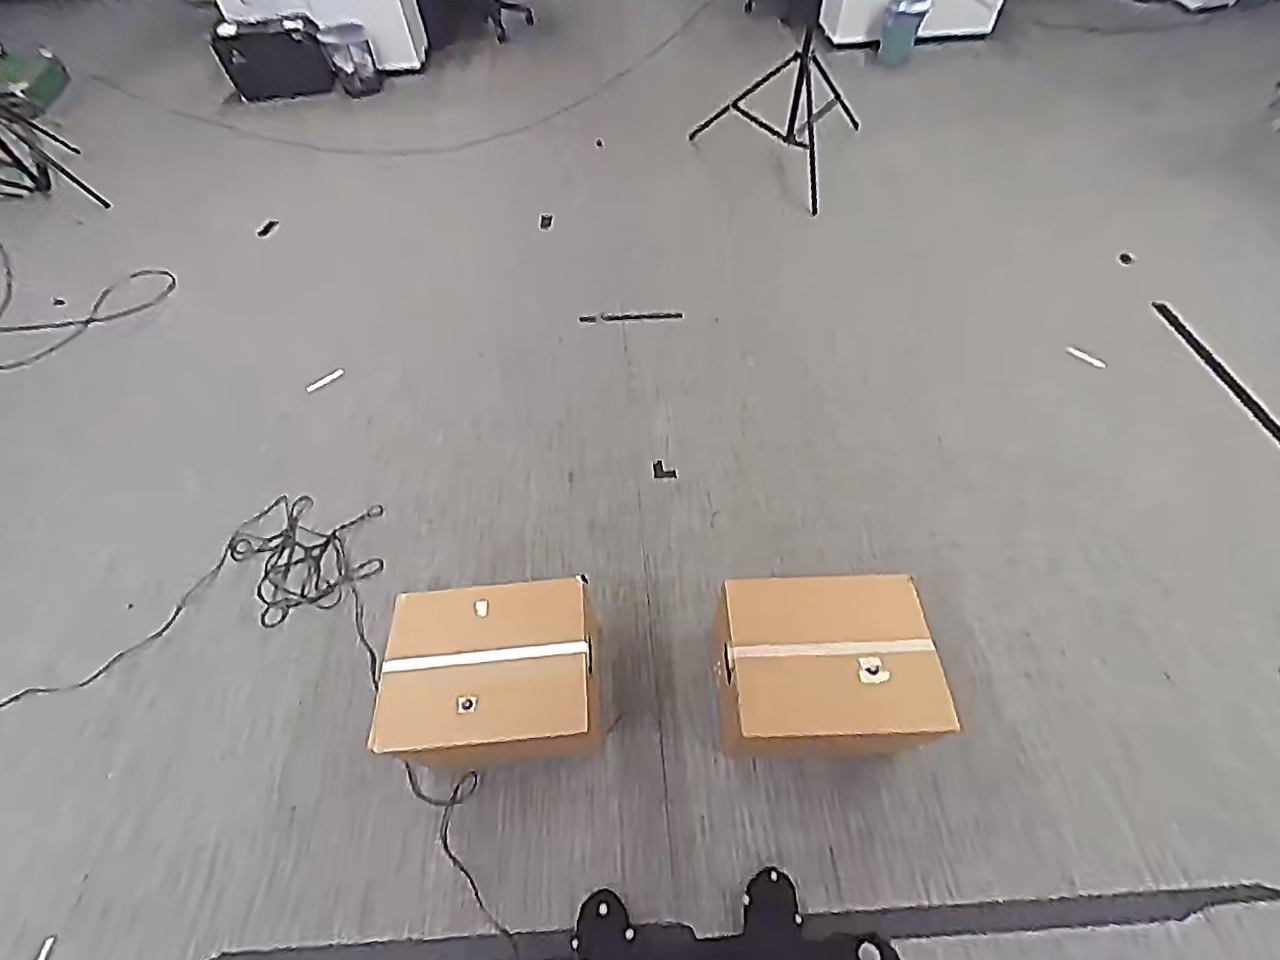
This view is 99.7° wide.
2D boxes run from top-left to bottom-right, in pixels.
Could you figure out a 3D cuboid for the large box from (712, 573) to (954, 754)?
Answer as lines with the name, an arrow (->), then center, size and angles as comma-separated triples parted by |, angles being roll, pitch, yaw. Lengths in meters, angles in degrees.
large box -> 0.389, 0.419, 1.215 | 0.408, 0.320, 0.320 | -1, 57, 0
